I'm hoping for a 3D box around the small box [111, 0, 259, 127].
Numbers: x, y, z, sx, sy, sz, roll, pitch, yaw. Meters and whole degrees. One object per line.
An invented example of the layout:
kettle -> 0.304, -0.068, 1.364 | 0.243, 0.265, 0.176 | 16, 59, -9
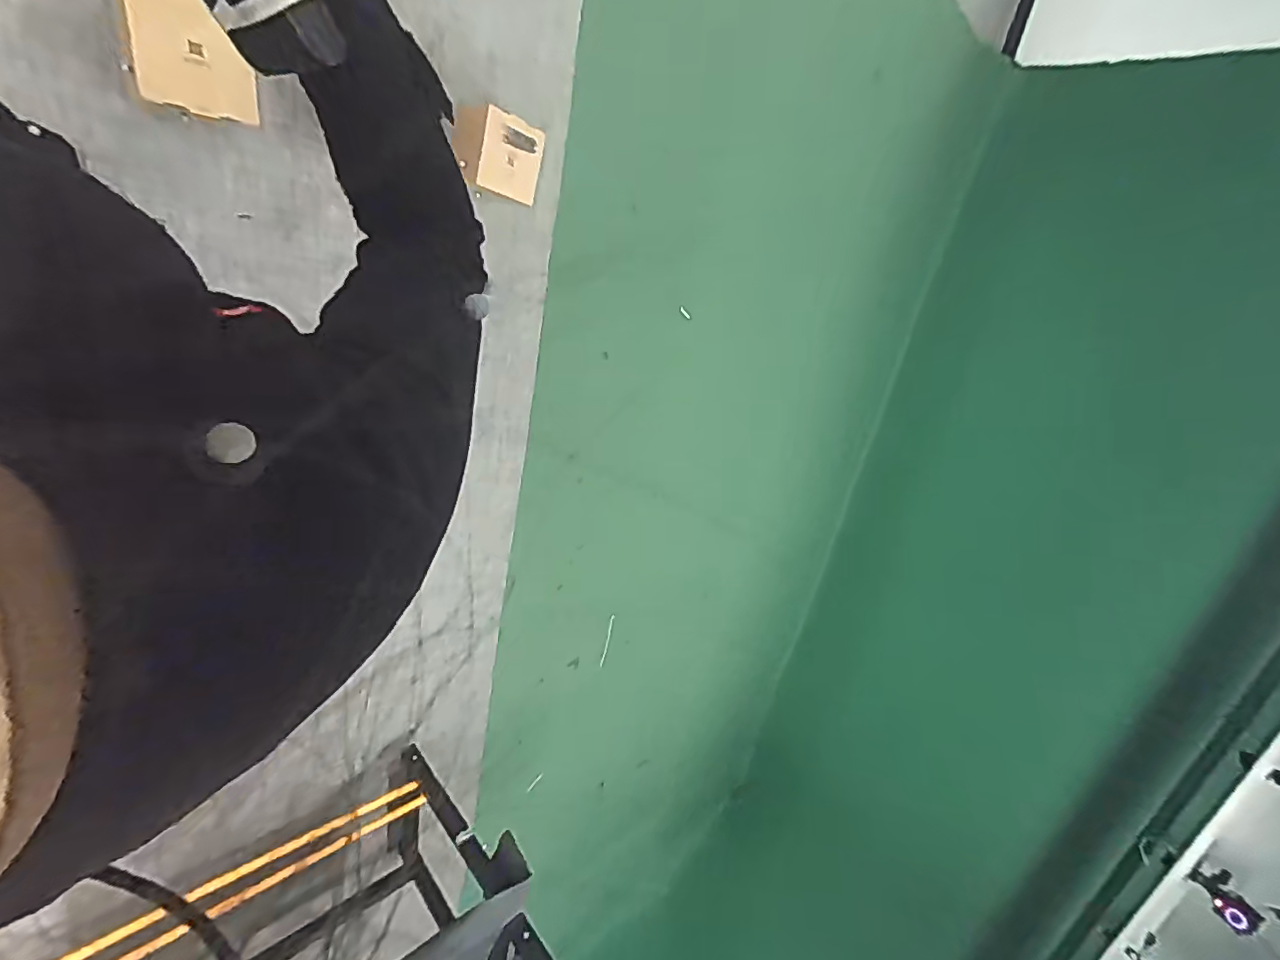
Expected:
small box -> -0.788, -0.737, 0.939 | 0.168, 0.176, 0.179 | -14, 123, -43
